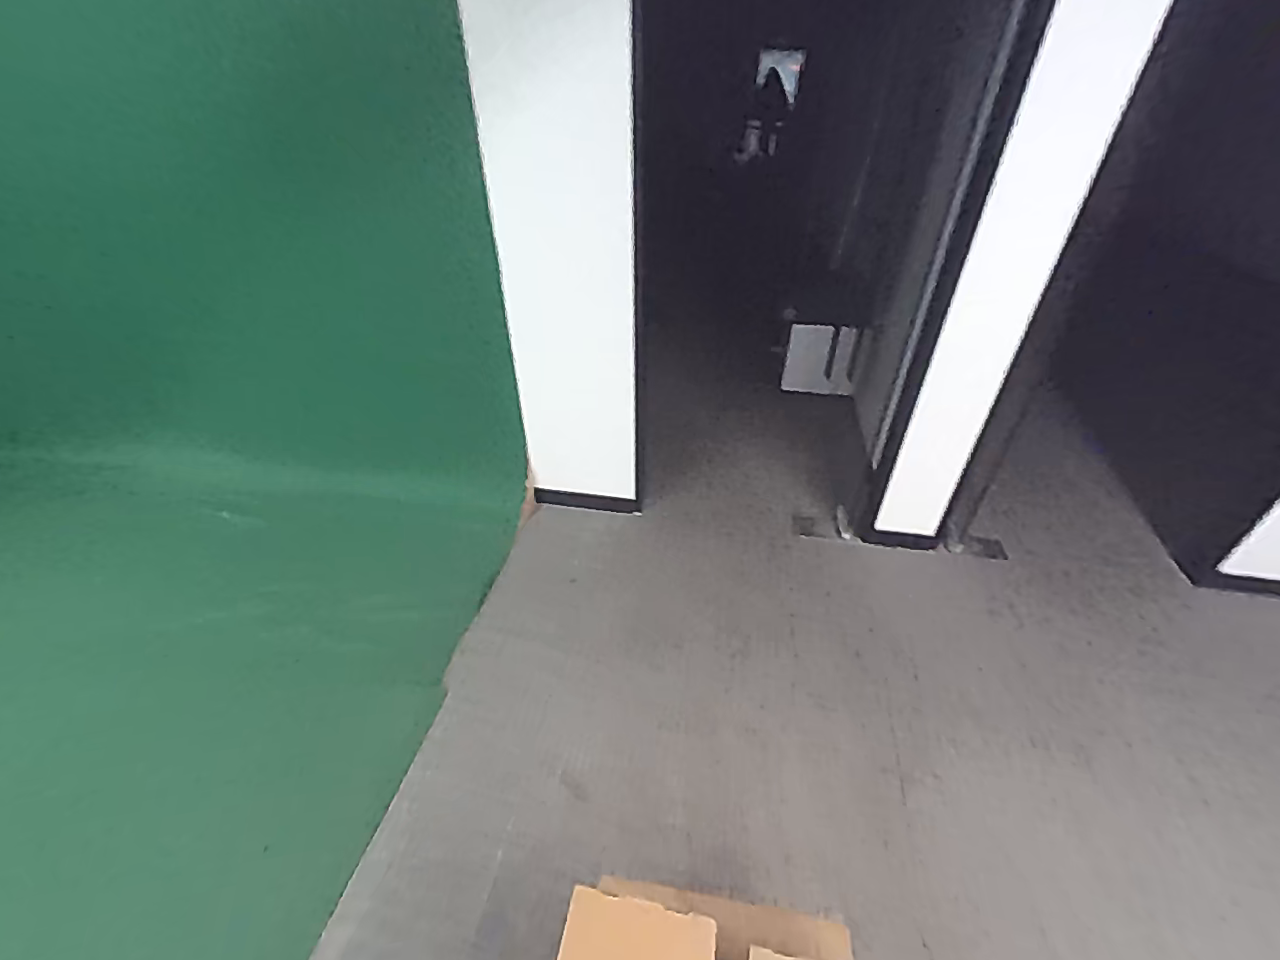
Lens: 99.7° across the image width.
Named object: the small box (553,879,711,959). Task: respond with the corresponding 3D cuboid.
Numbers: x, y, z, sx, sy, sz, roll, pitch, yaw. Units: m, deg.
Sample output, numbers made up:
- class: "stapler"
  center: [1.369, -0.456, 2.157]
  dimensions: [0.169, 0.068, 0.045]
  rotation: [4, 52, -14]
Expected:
- class: "small box"
  center: [-0.016, 0.597, 0.612]
  dimensions: [0.168, 0.176, 0.179]
  rotation: [8, 39, 8]
